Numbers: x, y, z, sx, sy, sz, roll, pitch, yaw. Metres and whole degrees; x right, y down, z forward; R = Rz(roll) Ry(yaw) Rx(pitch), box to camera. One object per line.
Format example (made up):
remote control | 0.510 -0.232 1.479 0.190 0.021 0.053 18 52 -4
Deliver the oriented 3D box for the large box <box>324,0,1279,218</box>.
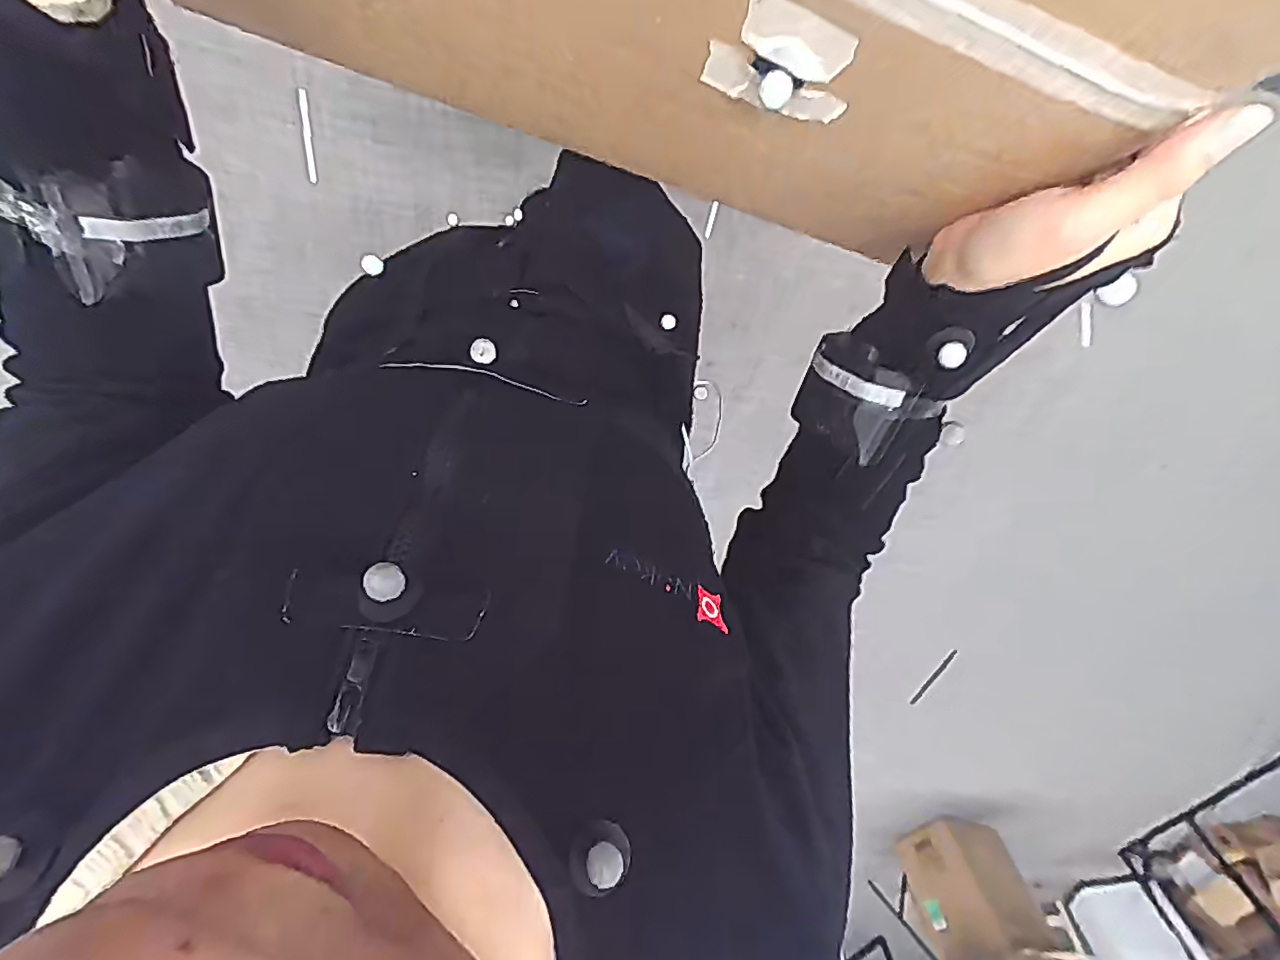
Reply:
large box | 0.046 -0.334 0.128 0.408 0.320 0.320 13 90 -11
